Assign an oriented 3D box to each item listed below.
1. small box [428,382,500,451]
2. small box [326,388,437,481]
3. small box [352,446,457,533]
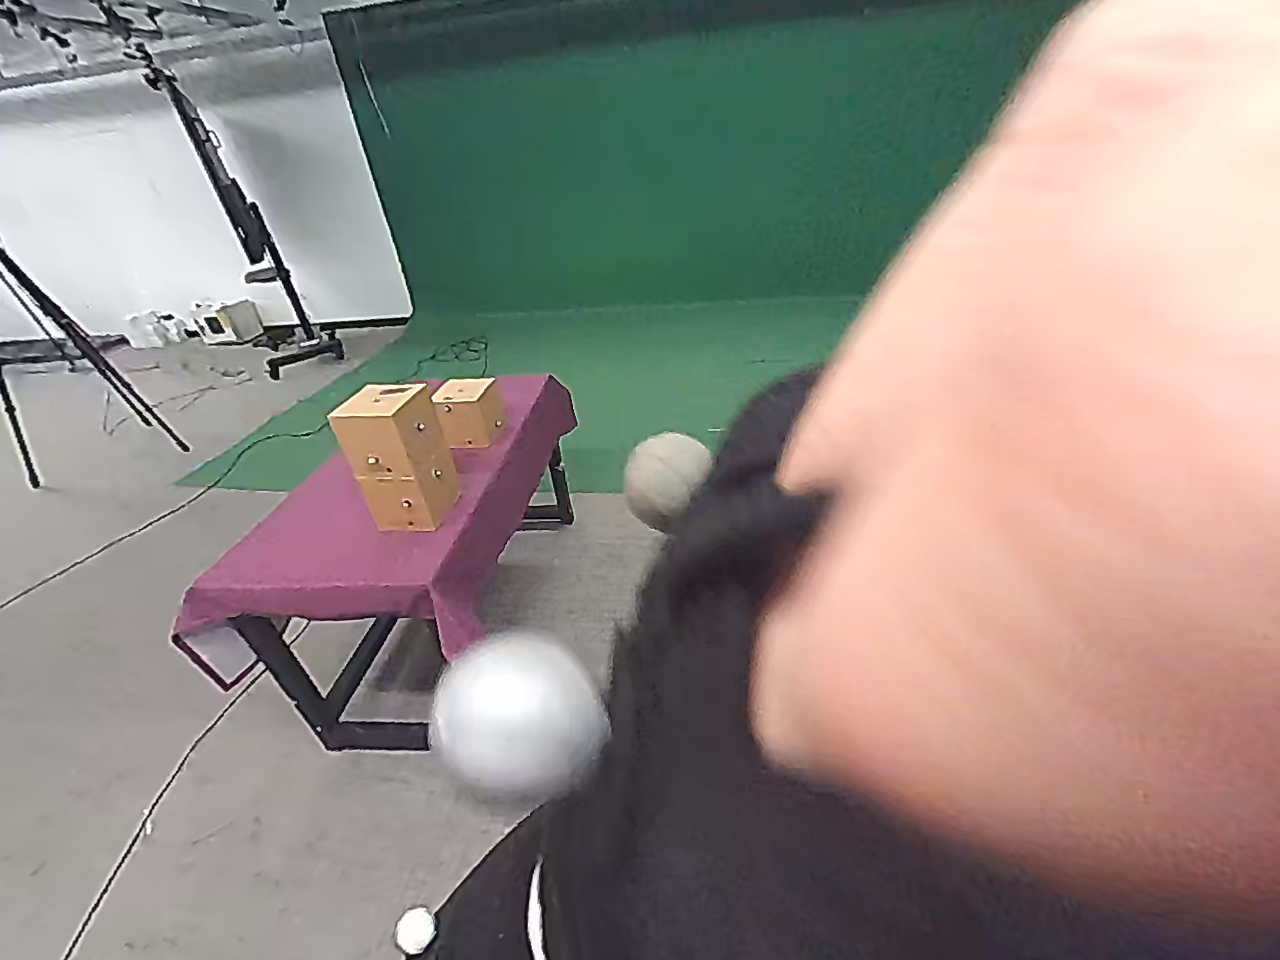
[{"bbox_3d":[-0.570,-0.208,1.765,0.168,0.176,0.179,-1,33,9],"label":"small box"},{"bbox_3d":[-0.622,-0.113,1.331,0.168,0.176,0.179,0,34,9],"label":"small box"},{"bbox_3d":[-0.604,0.026,1.416,0.168,0.176,0.179,0,33,10],"label":"small box"}]
